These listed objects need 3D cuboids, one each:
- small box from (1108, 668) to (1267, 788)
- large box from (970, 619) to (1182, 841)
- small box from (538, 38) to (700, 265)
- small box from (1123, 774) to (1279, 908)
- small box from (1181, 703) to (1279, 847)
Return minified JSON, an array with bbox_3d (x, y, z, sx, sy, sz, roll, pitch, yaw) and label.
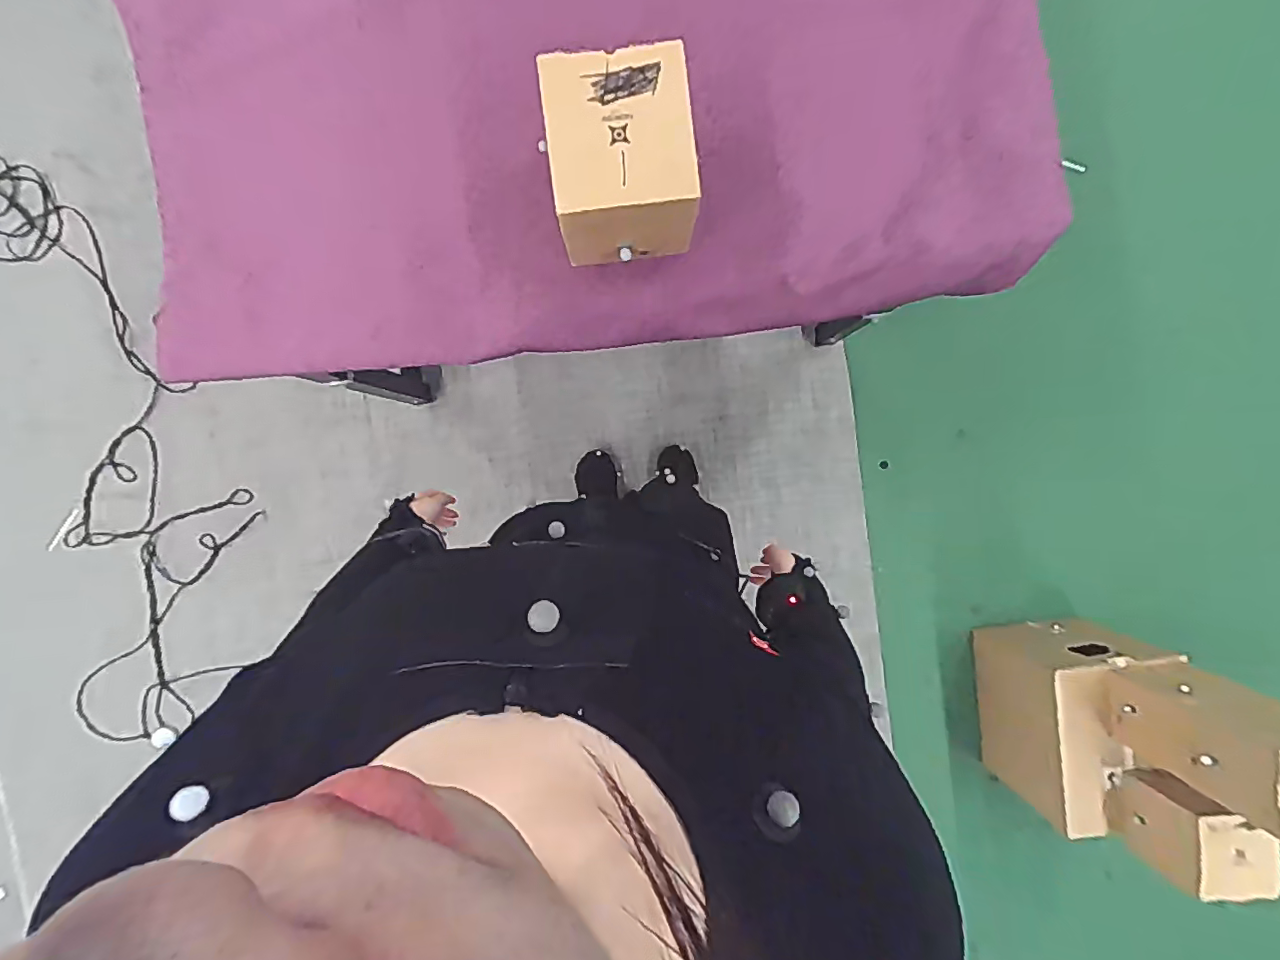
[{"bbox_3d":[1.148,0.513,1.143,0.179,0.176,0.168,-6,93,-1],"label":"small box"},{"bbox_3d":[1.106,0.614,1.389,0.320,0.320,0.408,-6,93,0],"label":"large box"},{"bbox_3d":[-0.025,-0.390,0.670,0.168,0.176,0.179,-7,93,0],"label":"small box"},{"bbox_3d":[1.181,0.760,1.151,0.168,0.176,0.179,-1,92,-1],"label":"small box"},{"bbox_3d":[1.149,0.524,0.978,0.179,0.176,0.168,-7,93,0],"label":"small box"}]
